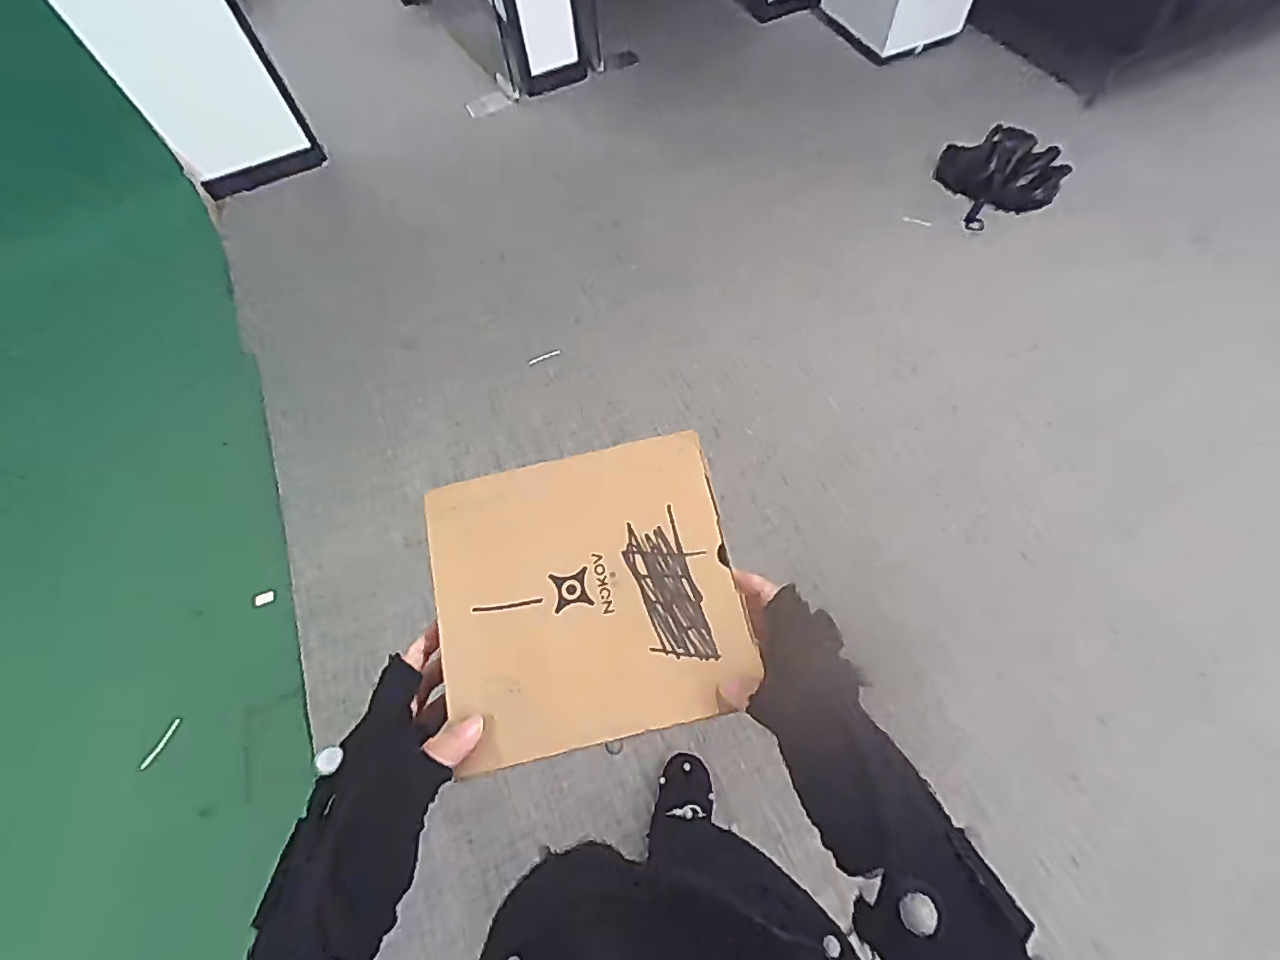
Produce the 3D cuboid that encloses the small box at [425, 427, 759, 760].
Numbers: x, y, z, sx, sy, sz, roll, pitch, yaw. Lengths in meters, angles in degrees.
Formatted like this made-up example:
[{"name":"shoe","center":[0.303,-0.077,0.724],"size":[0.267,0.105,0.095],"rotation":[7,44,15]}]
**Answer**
[{"name":"small box","center":[-0.032,0.082,0.395],"size":[0.179,0.176,0.168],"rotation":[-13,72,-2]}]
